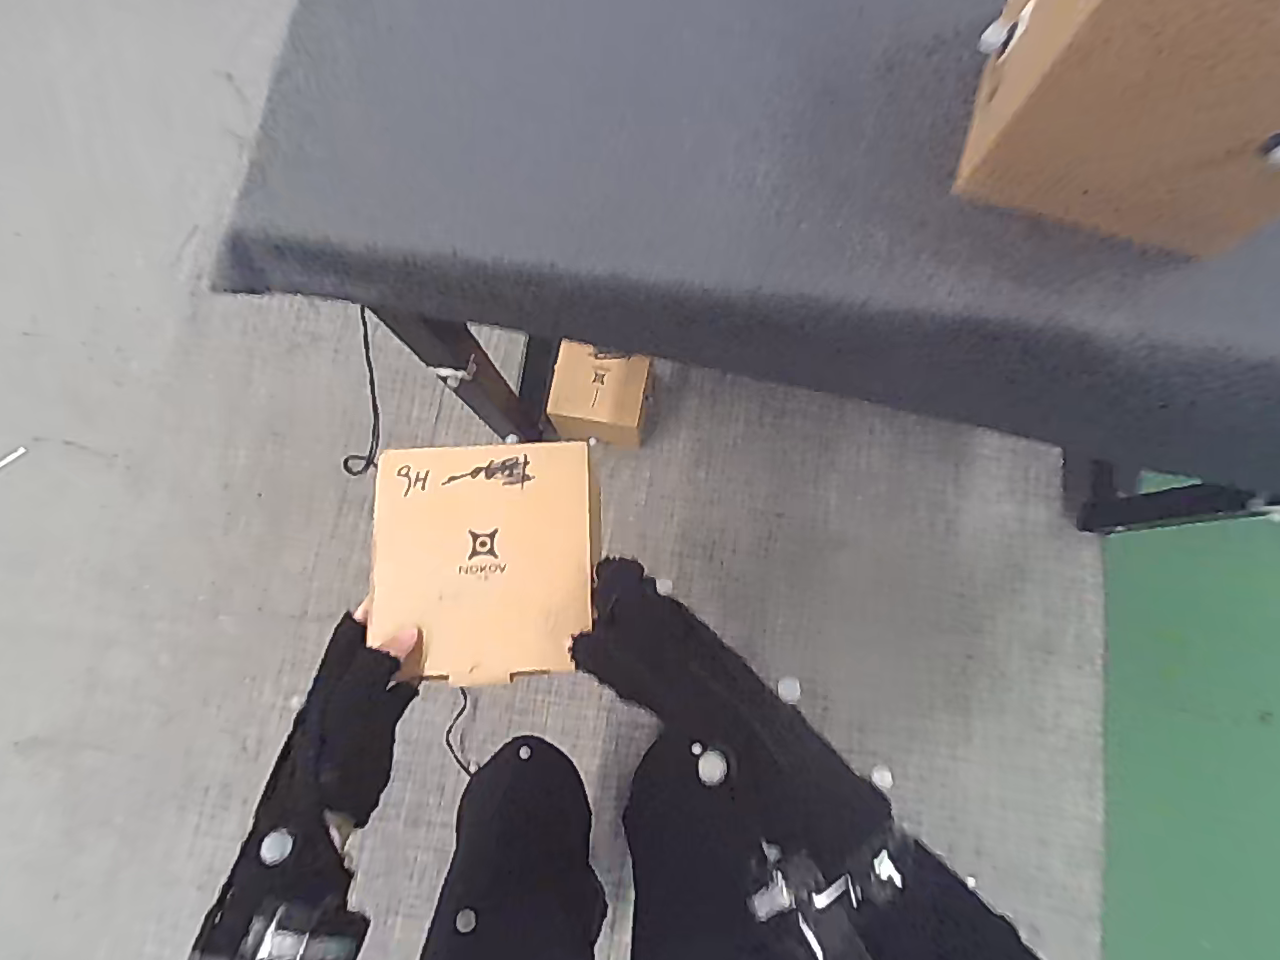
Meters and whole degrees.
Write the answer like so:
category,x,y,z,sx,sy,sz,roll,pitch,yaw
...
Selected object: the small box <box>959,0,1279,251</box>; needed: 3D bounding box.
category,x,y,z,sx,sy,sz,roll,pitch,yaw
small box,0.330,-0.265,0.315,0.179,0.176,0.168,17,78,4
